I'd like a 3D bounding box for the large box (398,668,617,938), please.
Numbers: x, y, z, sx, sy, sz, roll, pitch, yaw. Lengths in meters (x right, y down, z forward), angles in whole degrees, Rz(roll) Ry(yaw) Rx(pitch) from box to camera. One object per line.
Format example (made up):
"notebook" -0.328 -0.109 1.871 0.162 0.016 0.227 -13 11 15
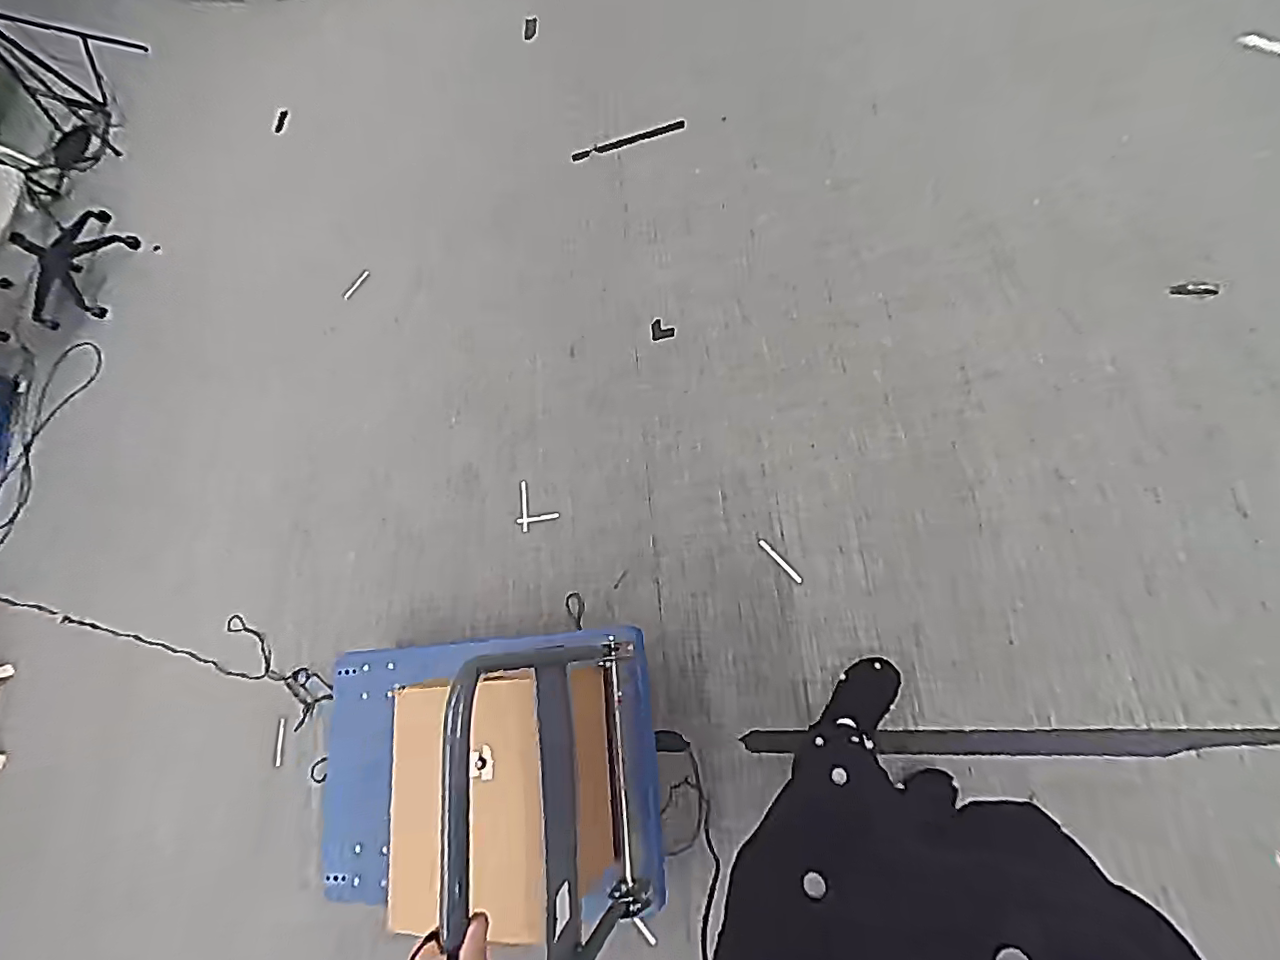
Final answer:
"large box" -0.255 0.614 1.101 0.320 0.320 0.408 -10 72 16
